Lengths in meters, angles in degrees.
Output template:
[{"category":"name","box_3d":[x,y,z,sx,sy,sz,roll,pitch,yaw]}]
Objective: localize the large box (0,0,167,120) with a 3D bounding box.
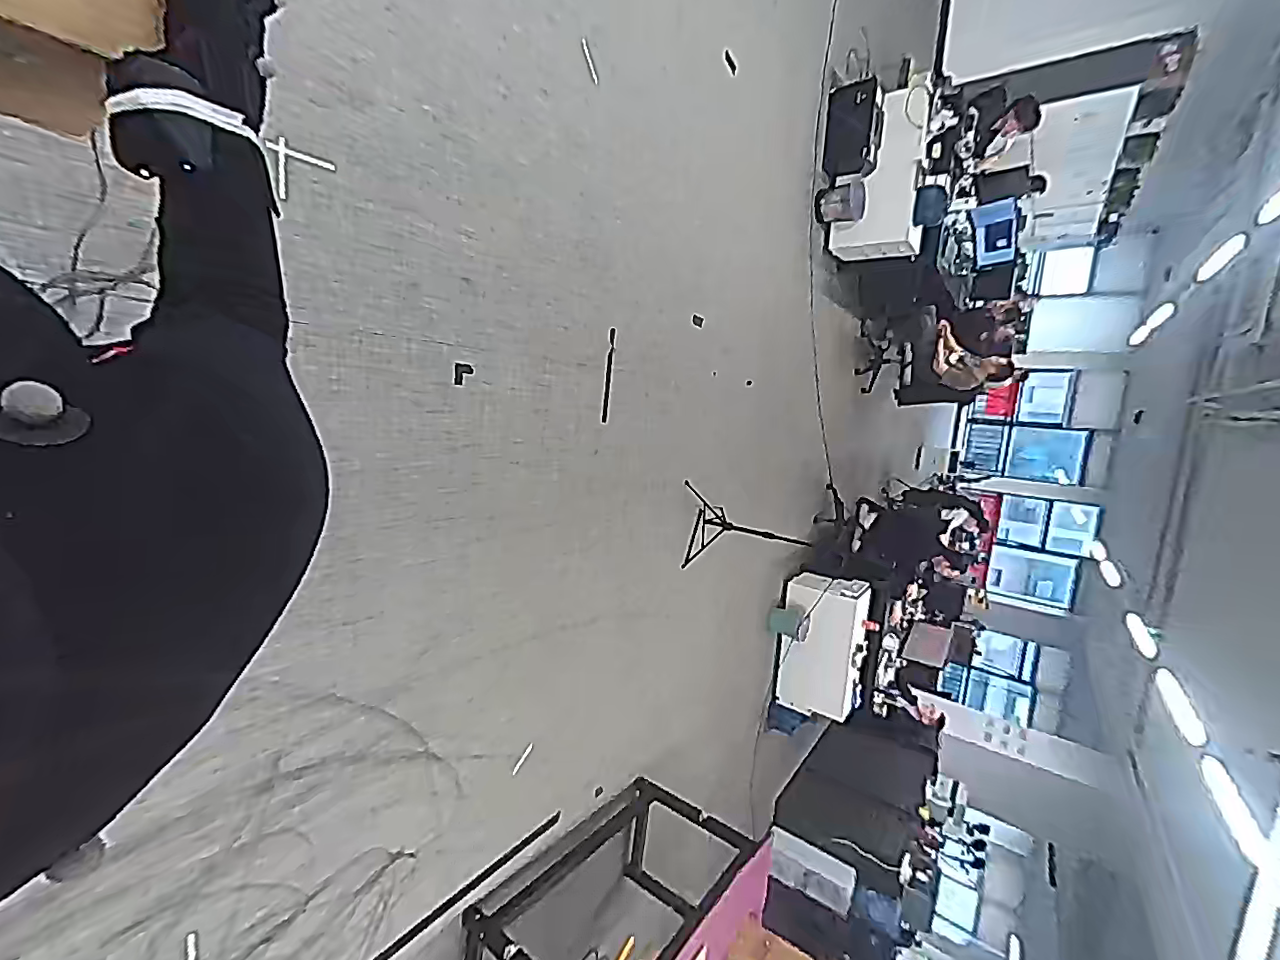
[{"category":"large box","box_3d":[-0.561,-0.466,0.289,0.408,0.320,0.320,-6,110,-54]}]
